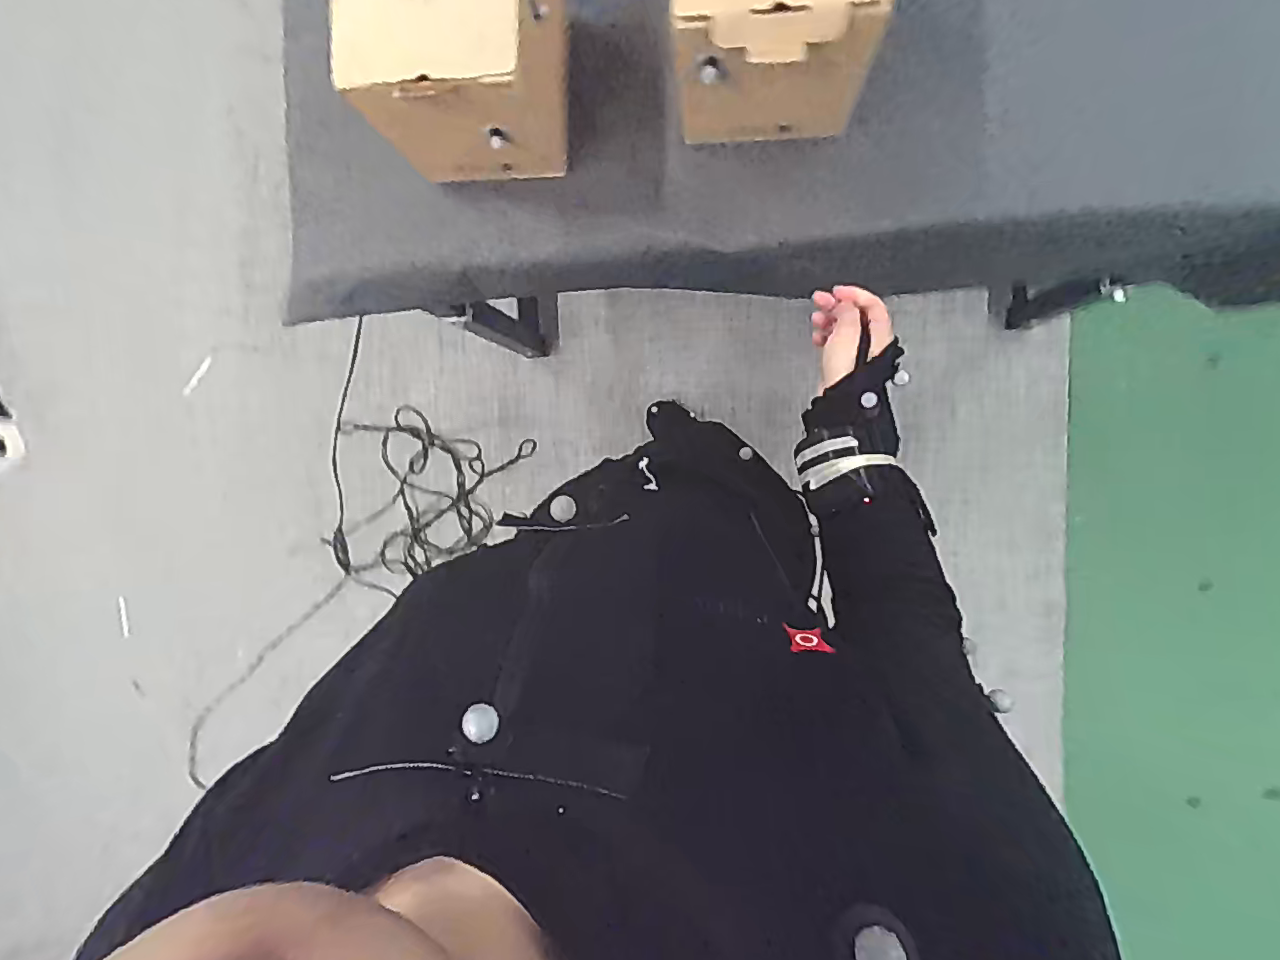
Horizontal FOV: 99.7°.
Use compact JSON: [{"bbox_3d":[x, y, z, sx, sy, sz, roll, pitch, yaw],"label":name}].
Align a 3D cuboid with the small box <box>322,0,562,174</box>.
[{"bbox_3d":[-0.174,-0.419,0.522,0.168,0.176,0.179,1,92,6],"label":"small box"}]
